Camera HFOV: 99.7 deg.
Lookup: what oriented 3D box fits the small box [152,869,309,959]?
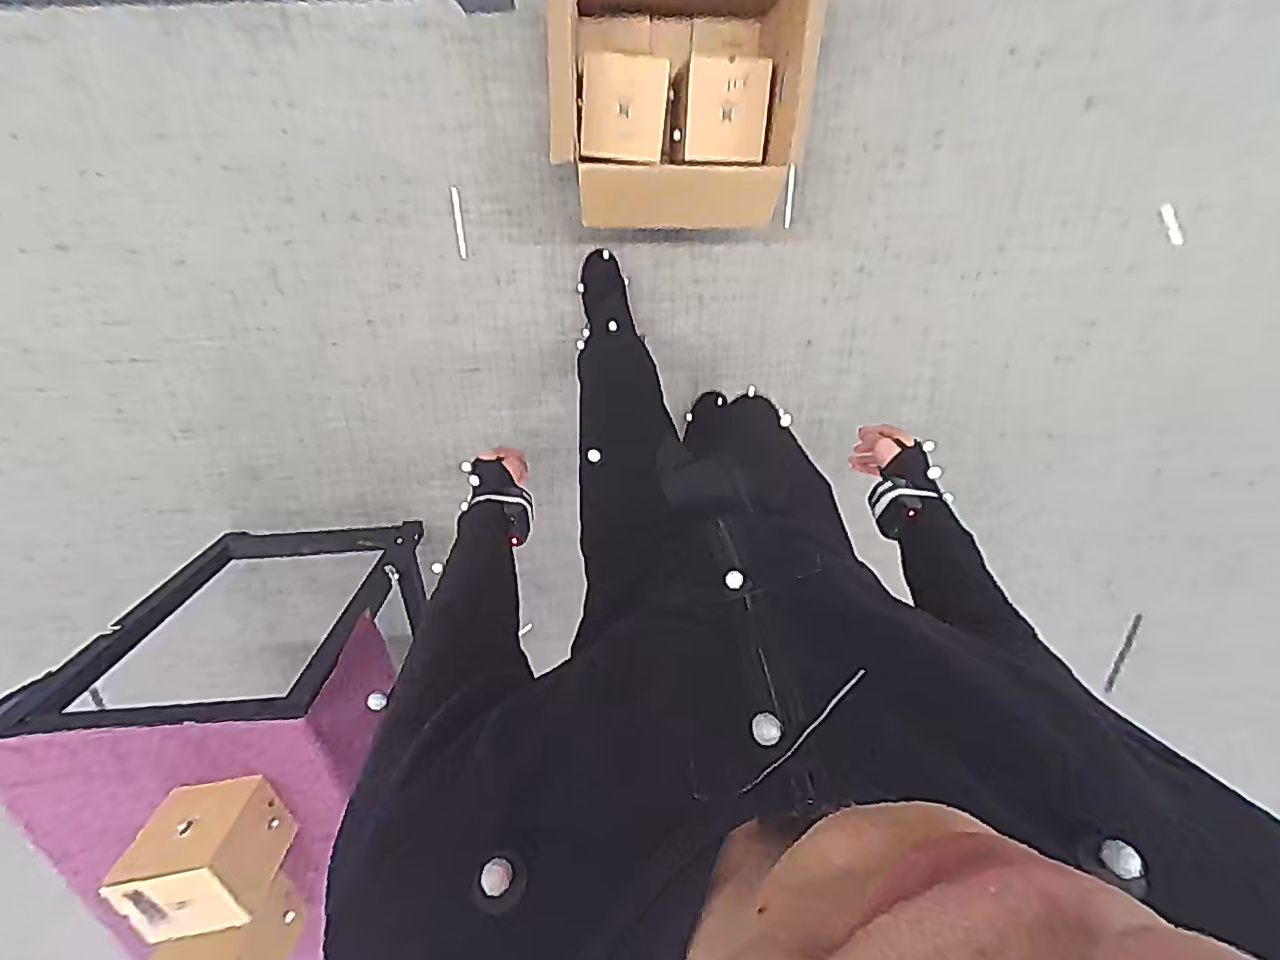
[{"bbox_3d":[-0.819,0.930,1.093,0.179,0.176,0.168,-8,115,-1],"label":"small box"}]
